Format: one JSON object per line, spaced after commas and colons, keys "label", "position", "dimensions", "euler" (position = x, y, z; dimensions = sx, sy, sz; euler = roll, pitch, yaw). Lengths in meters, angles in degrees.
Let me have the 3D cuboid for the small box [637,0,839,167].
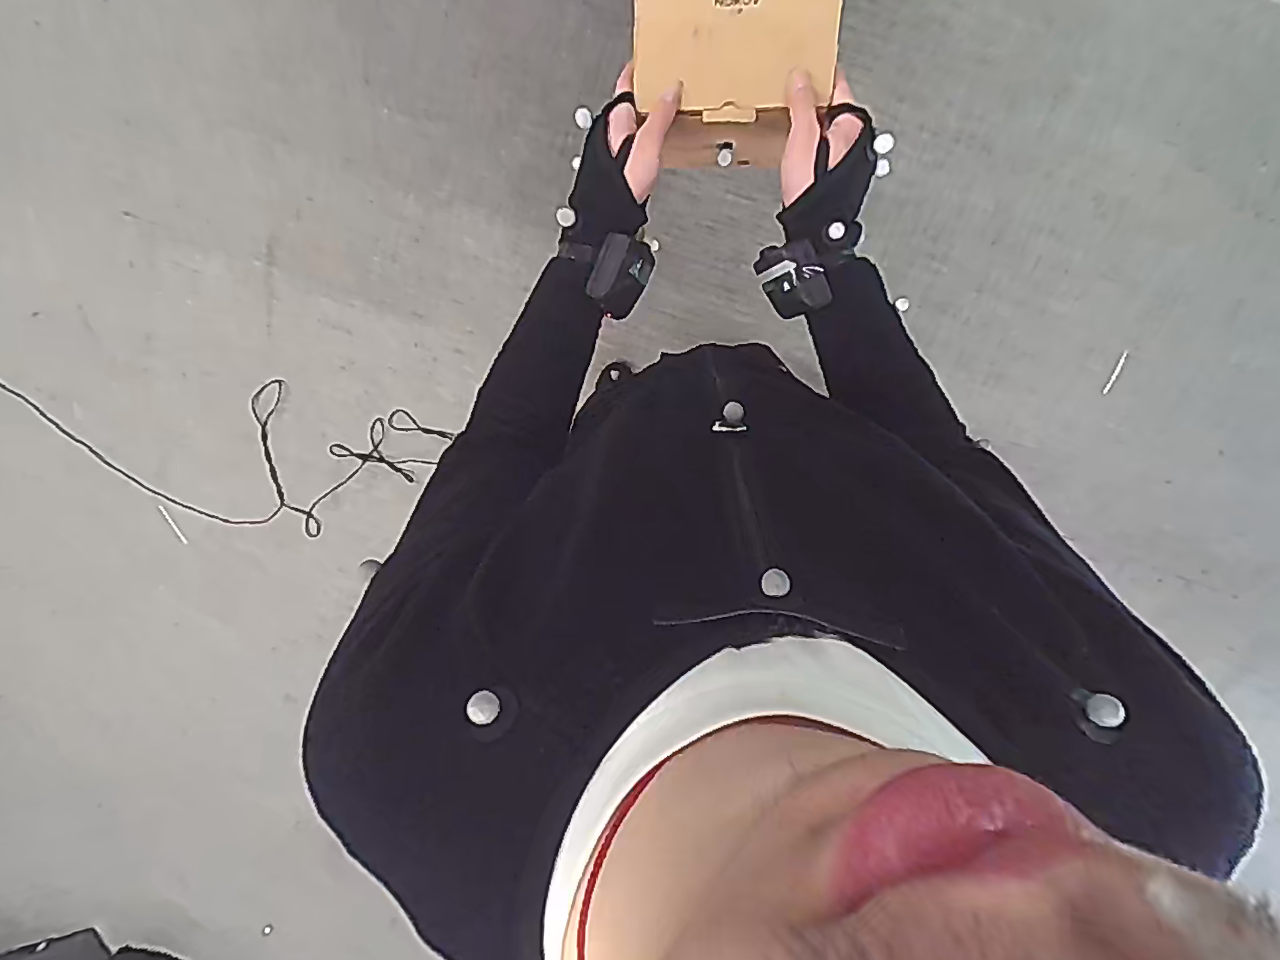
{"label": "small box", "position": [0.090, -0.414, 0.513], "dimensions": [0.168, 0.176, 0.179], "euler": [1, 105, 8]}
